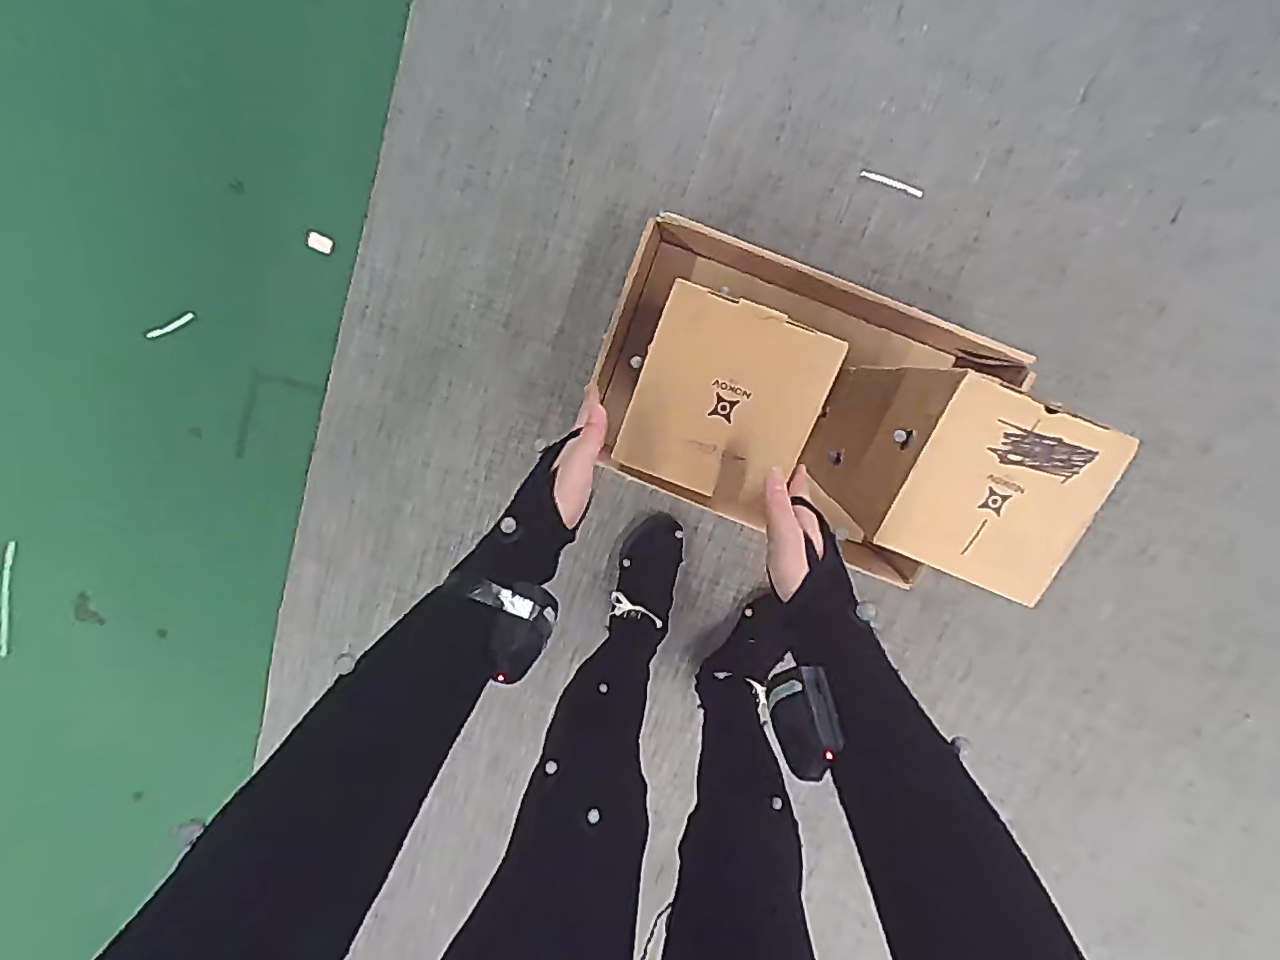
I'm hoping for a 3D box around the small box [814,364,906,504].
[{"bbox_3d":[0.351,-0.045,0.727,0.168,0.176,0.179,23,104,1],"label":"small box"}]

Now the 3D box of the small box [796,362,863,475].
[{"bbox_3d":[0.366,-0.082,0.887,0.168,0.176,0.179,23,105,1],"label":"small box"}]

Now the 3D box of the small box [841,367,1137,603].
[{"bbox_3d":[0.335,-0.010,0.567,0.168,0.176,0.179,23,106,1],"label":"small box"}]

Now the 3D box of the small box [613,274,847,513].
[{"bbox_3d":[0.084,-0.094,0.570,0.168,0.176,0.179,21,106,0],"label":"small box"}]
